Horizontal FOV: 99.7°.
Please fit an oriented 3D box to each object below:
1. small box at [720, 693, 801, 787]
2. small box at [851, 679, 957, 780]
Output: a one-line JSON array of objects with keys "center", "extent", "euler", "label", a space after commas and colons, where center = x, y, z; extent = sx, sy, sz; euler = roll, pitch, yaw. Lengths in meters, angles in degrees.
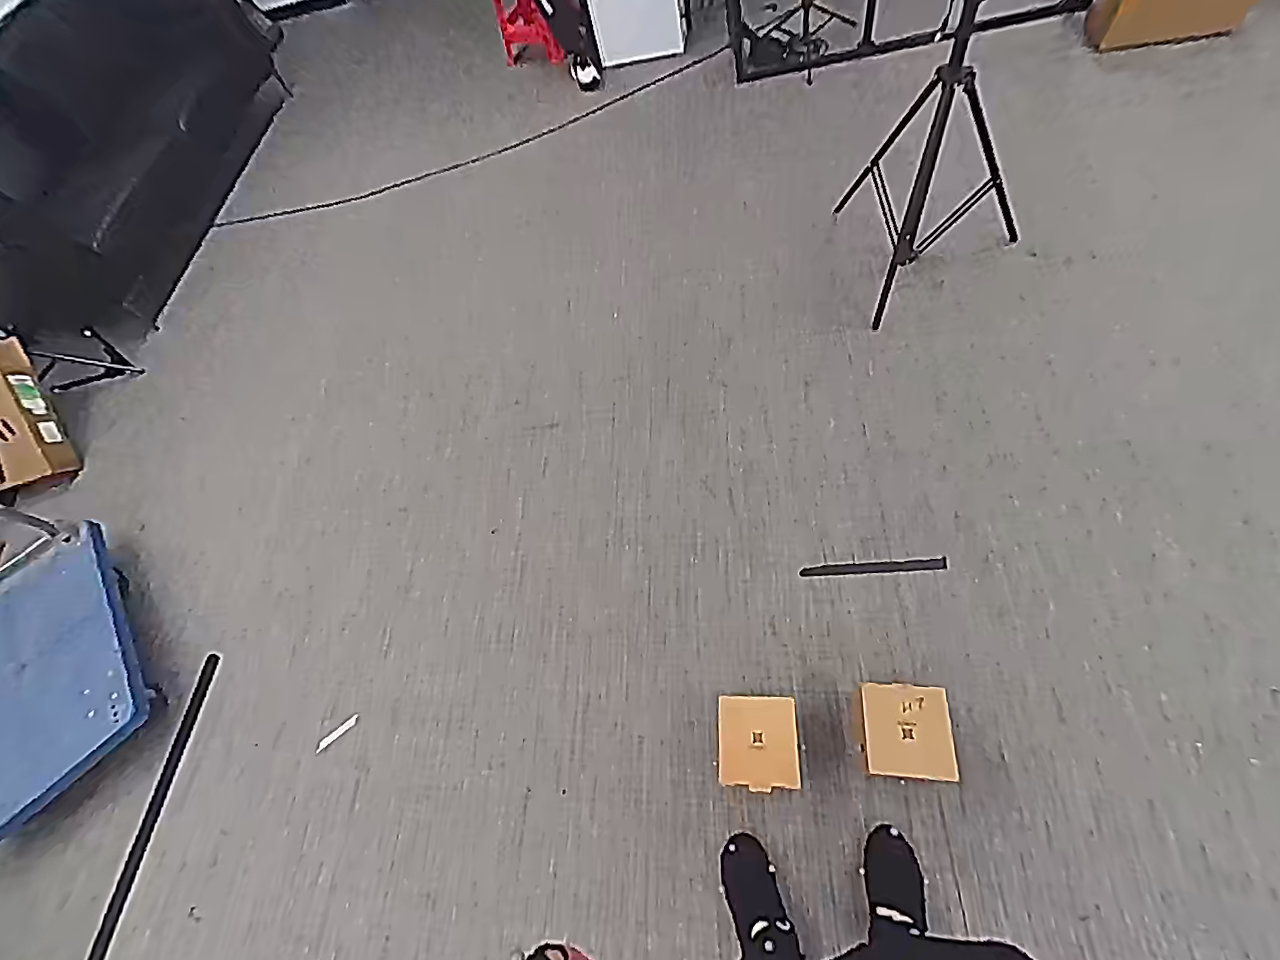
[{"center": [0.266, 0.583, 1.212], "extent": [0.168, 0.176, 0.179], "euler": [-4, 62, 12], "label": "small box"}, {"center": [0.557, 0.538, 1.163], "extent": [0.168, 0.176, 0.179], "euler": [-1, 62, 13], "label": "small box"}]
